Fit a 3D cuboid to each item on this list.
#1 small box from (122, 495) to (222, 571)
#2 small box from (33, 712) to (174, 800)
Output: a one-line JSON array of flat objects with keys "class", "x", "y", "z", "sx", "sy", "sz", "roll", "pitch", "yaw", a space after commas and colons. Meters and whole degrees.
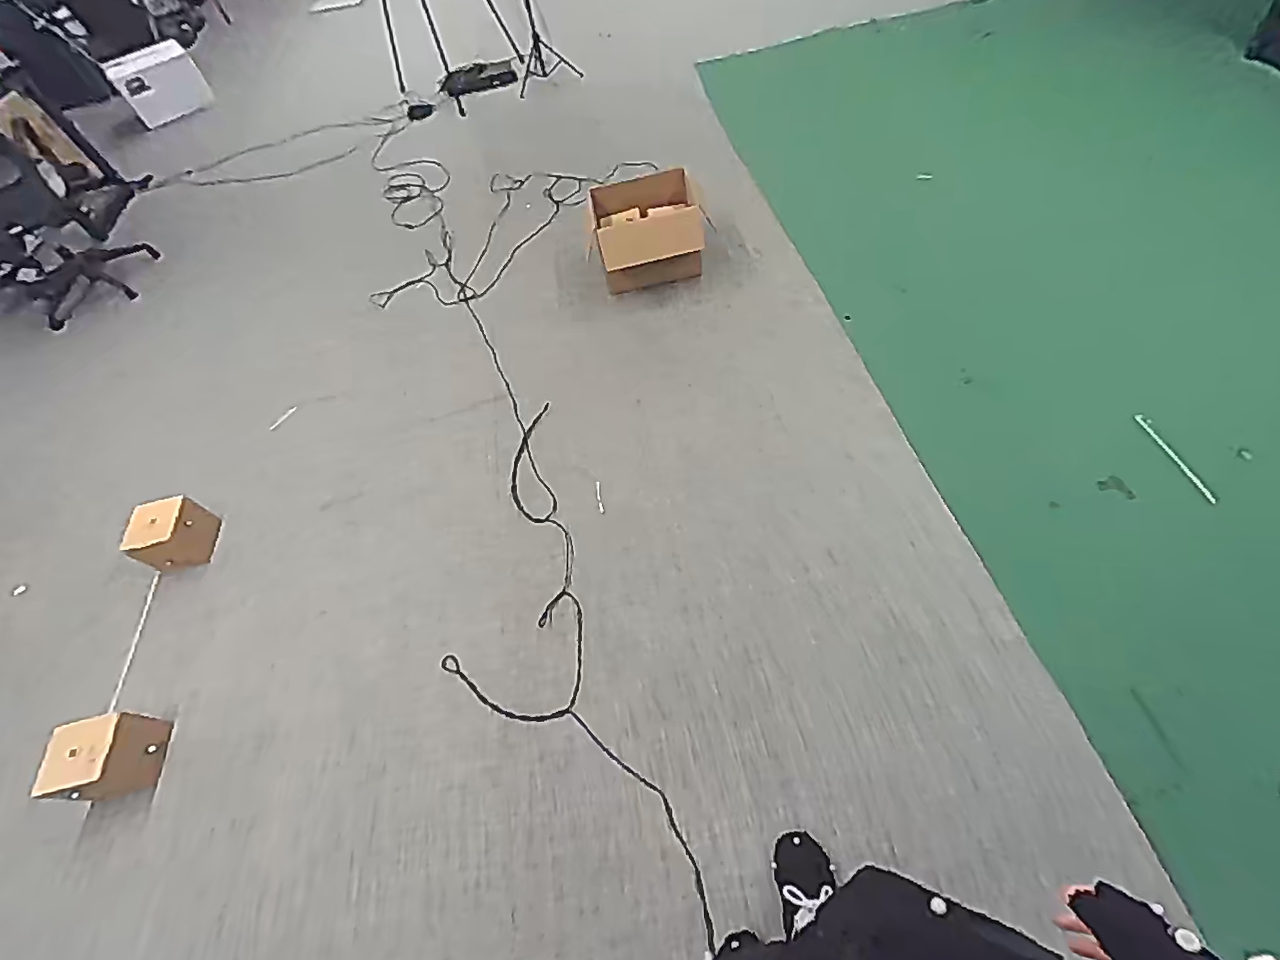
[{"class": "small box", "x": -1.547, "y": 0.179, "z": 1.802, "sx": 0.168, "sy": 0.176, "sz": 0.179, "roll": -14, "pitch": 57, "yaw": 0}, {"class": "small box", "x": -1.396, "y": 0.729, "z": 1.421, "sx": 0.179, "sy": 0.176, "sz": 0.168, "roll": -14, "pitch": 56, "yaw": 0}]
